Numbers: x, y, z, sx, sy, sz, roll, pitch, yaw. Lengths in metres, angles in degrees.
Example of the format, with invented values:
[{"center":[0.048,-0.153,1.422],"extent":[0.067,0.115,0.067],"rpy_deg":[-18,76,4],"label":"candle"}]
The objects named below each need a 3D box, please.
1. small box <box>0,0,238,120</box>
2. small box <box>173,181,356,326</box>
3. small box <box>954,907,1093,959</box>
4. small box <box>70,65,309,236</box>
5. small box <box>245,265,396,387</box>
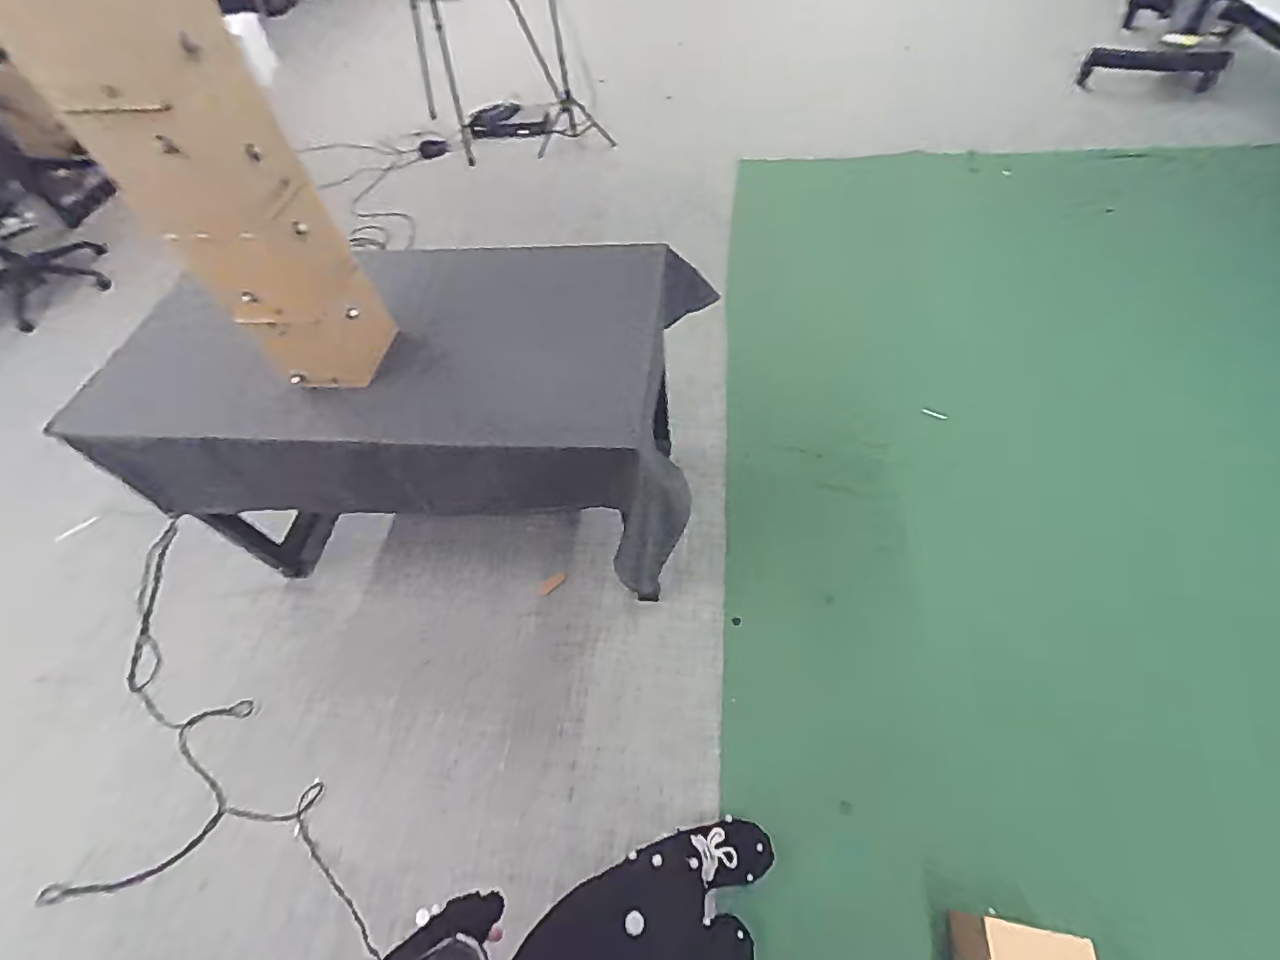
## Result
[{"center":[-0.652,-0.573,0.667],"extent":[0.168,0.176,0.179],"rpy_deg":[4,56,9],"label":"small box"},{"center":[-0.629,-0.391,0.939],"extent":[0.168,0.176,0.179],"rpy_deg":[2,56,7],"label":"small box"},{"center":[0.693,0.900,0.983],"extent":[0.179,0.176,0.168],"rpy_deg":[6,57,11],"label":"small box"},{"center":[-0.642,-0.481,0.802],"extent":[0.179,0.176,0.168],"rpy_deg":[3,56,8],"label":"small box"},{"center":[-0.616,-0.300,1.072],"extent":[0.168,0.176,0.179],"rpy_deg":[2,55,7],"label":"small box"}]
